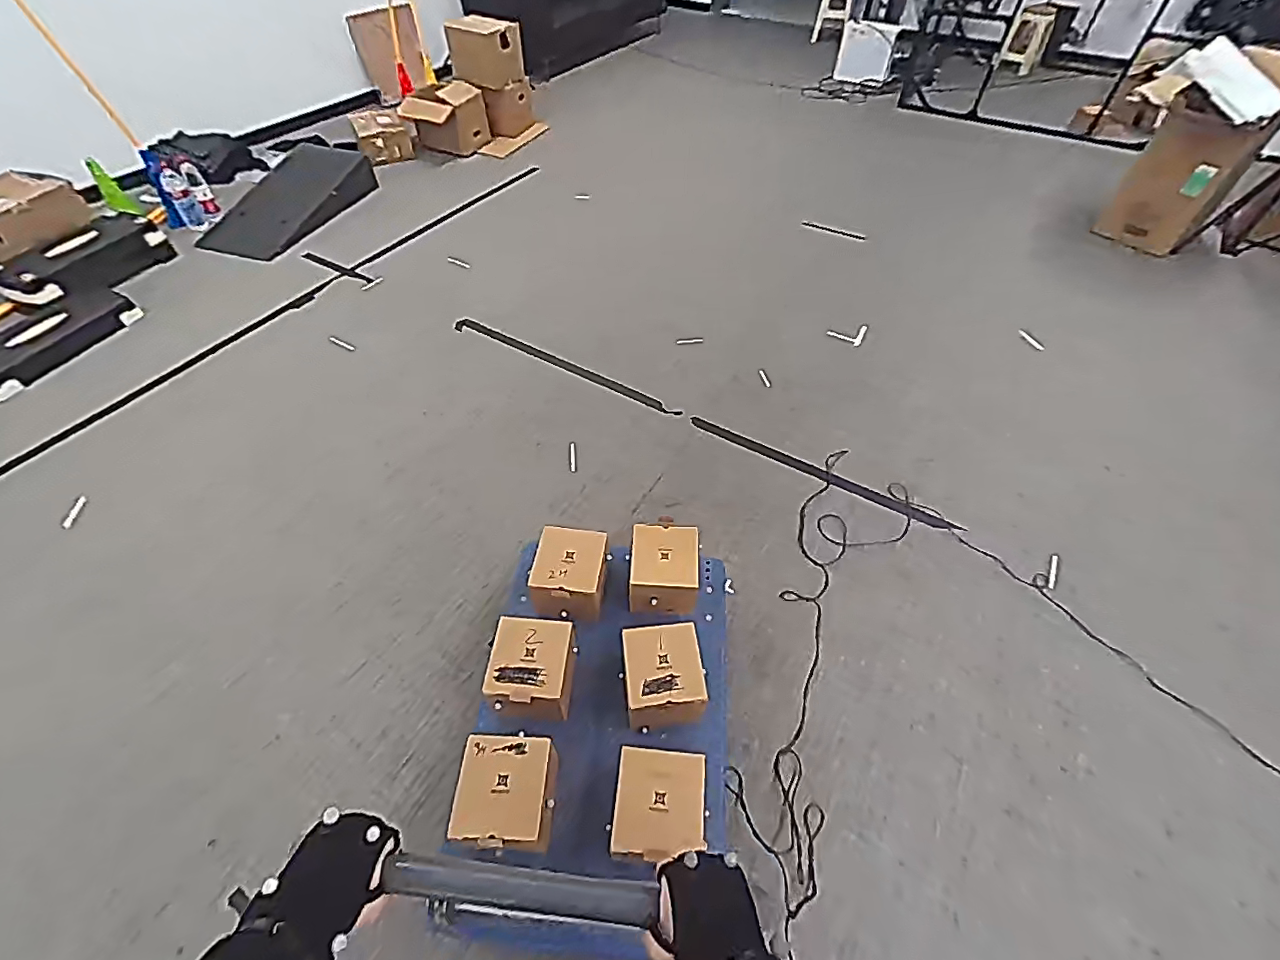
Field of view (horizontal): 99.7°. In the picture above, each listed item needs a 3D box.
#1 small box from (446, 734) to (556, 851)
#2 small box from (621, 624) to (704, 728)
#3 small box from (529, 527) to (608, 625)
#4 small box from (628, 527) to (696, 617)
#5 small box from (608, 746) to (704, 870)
[{"bbox_3d":[-0.264,0.625,1.077,0.168,0.176,0.179,4,51,0],"label":"small box"},{"bbox_3d":[0.046,0.451,1.230,0.168,0.176,0.179,-4,50,-5],"label":"small box"},{"bbox_3d":[-0.177,0.248,1.390,0.168,0.176,0.179,7,51,4],"label":"small box"},{"bbox_3d":[0.058,0.242,1.404,0.168,0.176,0.179,3,50,1],"label":"small box"},{"bbox_3d":[0.034,0.650,1.065,0.168,0.176,0.179,6,50,3],"label":"small box"}]
